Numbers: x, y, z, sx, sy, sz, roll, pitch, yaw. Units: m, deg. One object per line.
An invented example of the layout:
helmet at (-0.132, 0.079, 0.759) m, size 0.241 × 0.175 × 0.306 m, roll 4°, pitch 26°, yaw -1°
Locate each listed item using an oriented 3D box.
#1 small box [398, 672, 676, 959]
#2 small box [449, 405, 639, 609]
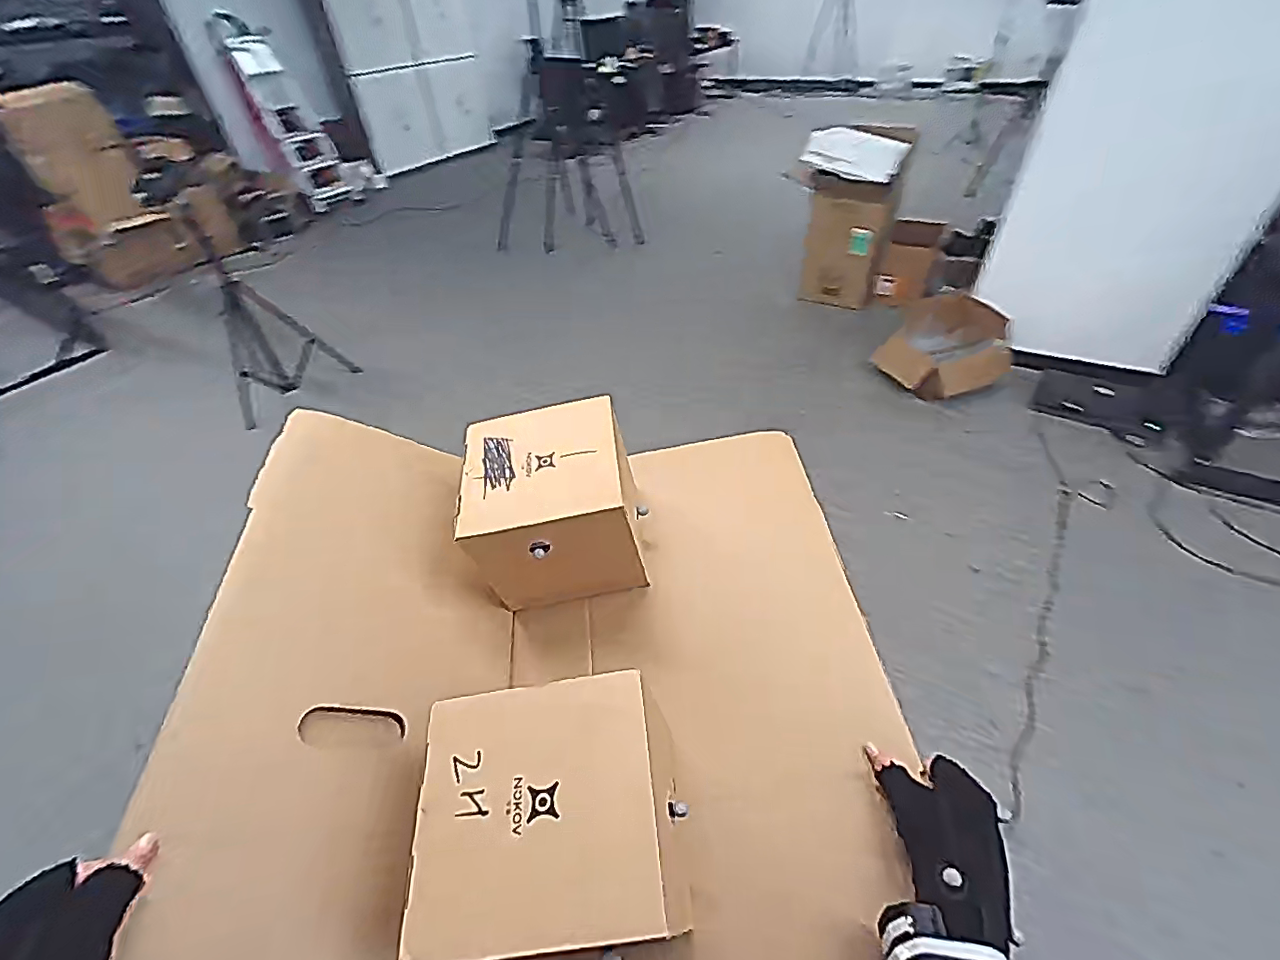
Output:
small box at (-0.067, 0.281, 0.456) m, size 0.179 × 0.176 × 0.168 m, roll -11°, pitch 50°, yaw 4°
small box at (-0.108, 0.039, 0.660) m, size 0.179 × 0.176 × 0.168 m, roll -12°, pitch 50°, yaw 2°
